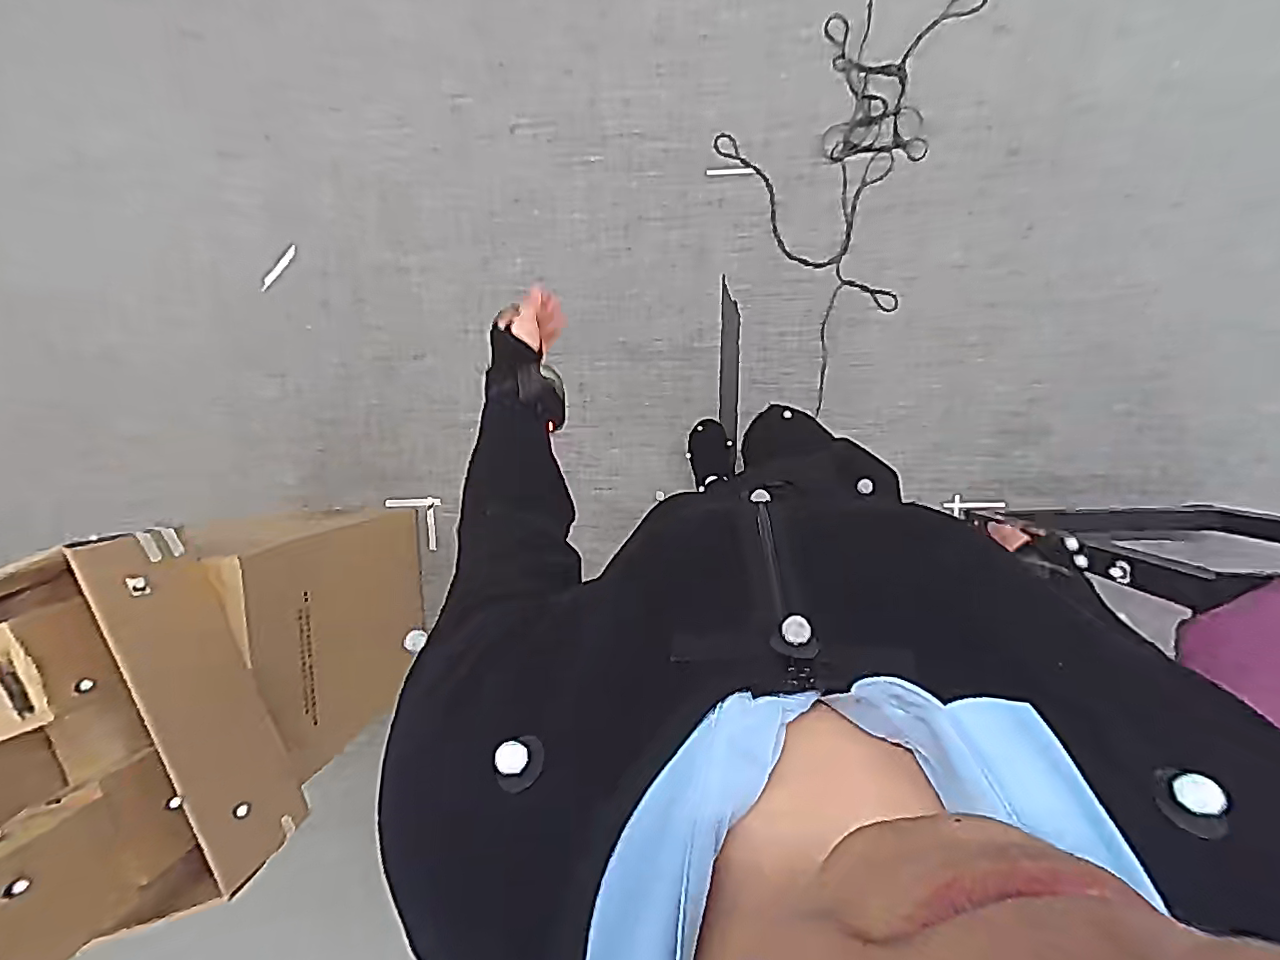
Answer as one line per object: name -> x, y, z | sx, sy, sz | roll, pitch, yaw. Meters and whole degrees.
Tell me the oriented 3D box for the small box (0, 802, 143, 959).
small box -> -0.859, 0.581, 0.747 | 0.168, 0.176, 0.179 | -17, 94, 7
